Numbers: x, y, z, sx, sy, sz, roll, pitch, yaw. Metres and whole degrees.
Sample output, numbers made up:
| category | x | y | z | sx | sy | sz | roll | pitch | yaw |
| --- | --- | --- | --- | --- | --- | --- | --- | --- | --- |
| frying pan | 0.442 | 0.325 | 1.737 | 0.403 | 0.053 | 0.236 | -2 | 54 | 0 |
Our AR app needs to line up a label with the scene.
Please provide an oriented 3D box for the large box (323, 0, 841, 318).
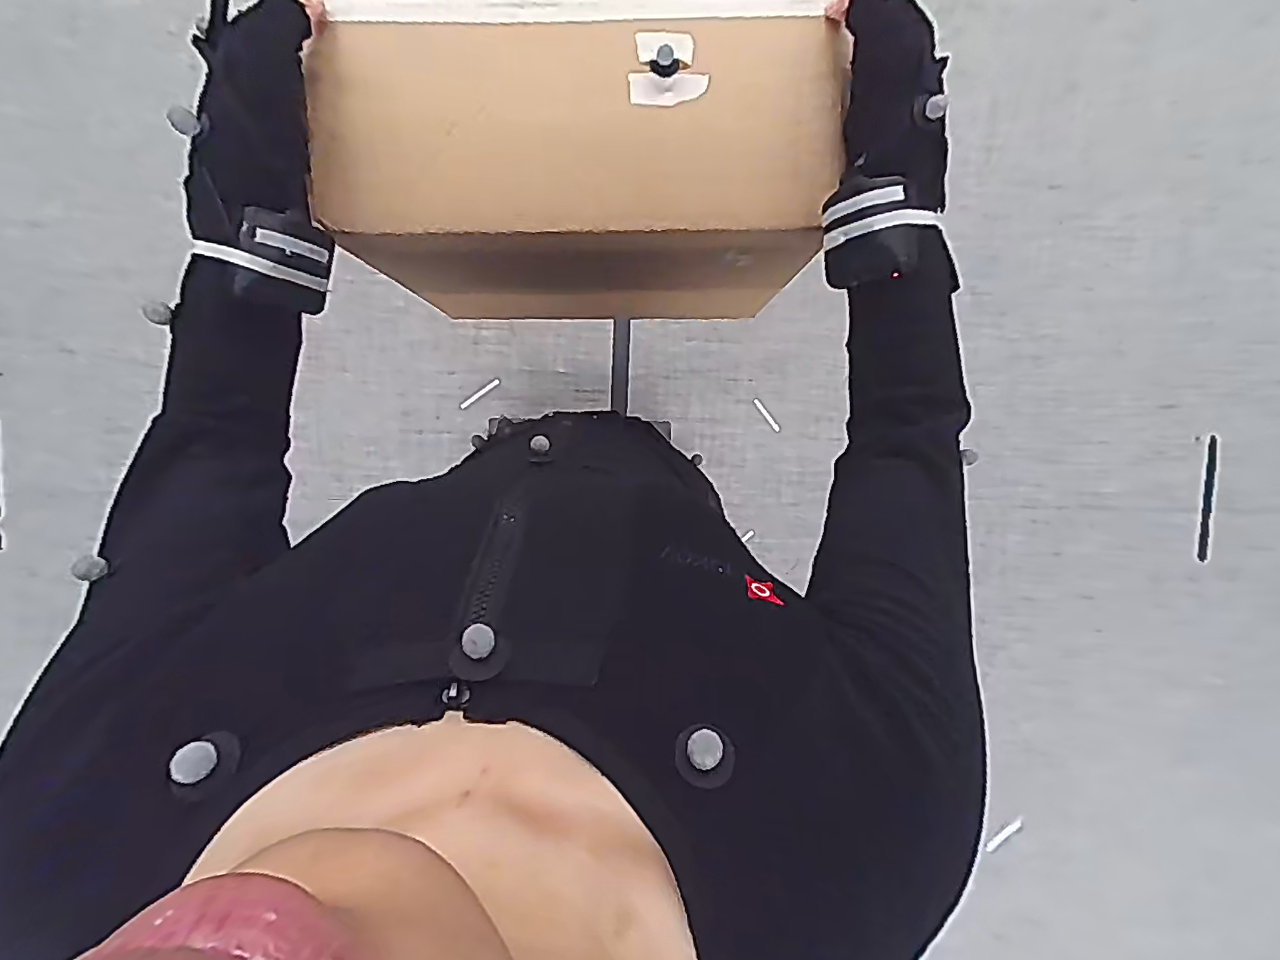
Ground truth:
| category | x | y | z | sx | sy | sz | roll | pitch | yaw |
| --- | --- | --- | --- | --- | --- | --- | --- | --- | --- |
| large box | -0.047 | -0.362 | 0.562 | 0.408 | 0.320 | 0.320 | -1 | 95 | -1 |

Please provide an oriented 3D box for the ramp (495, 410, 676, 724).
| category | x | y | z | sx | sy | sz | roll | pitch | yaw |
| --- | --- | --- | --- | --- | --- | --- | --- | --- | --- |
| ramp | -0.152 | 0.294 | 1.587 | 0.509 | 0.206 | 0.991 | -1 | 96 | -2 |
